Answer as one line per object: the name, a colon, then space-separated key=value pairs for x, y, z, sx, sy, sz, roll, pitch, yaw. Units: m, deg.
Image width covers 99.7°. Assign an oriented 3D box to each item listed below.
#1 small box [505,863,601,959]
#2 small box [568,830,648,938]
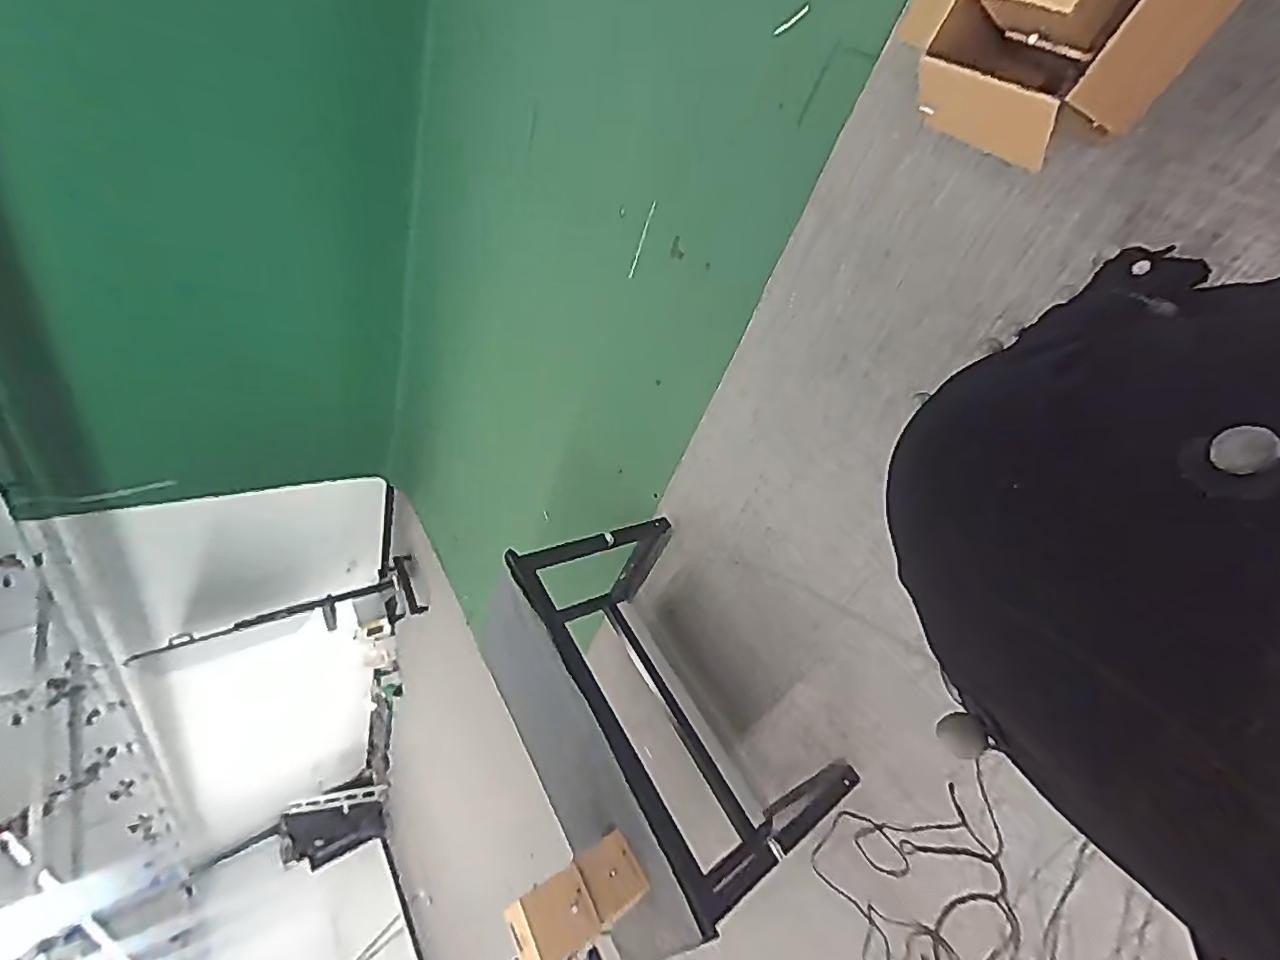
small box: x=-0.222 y=1.132 z=1.392 sx=0.168 sy=0.176 sz=0.179 roll=55 pitch=135 yaw=28
small box: x=-0.100 y=1.121 z=1.502 sx=0.168 sy=0.176 sz=0.179 roll=49 pitch=133 yaw=34
